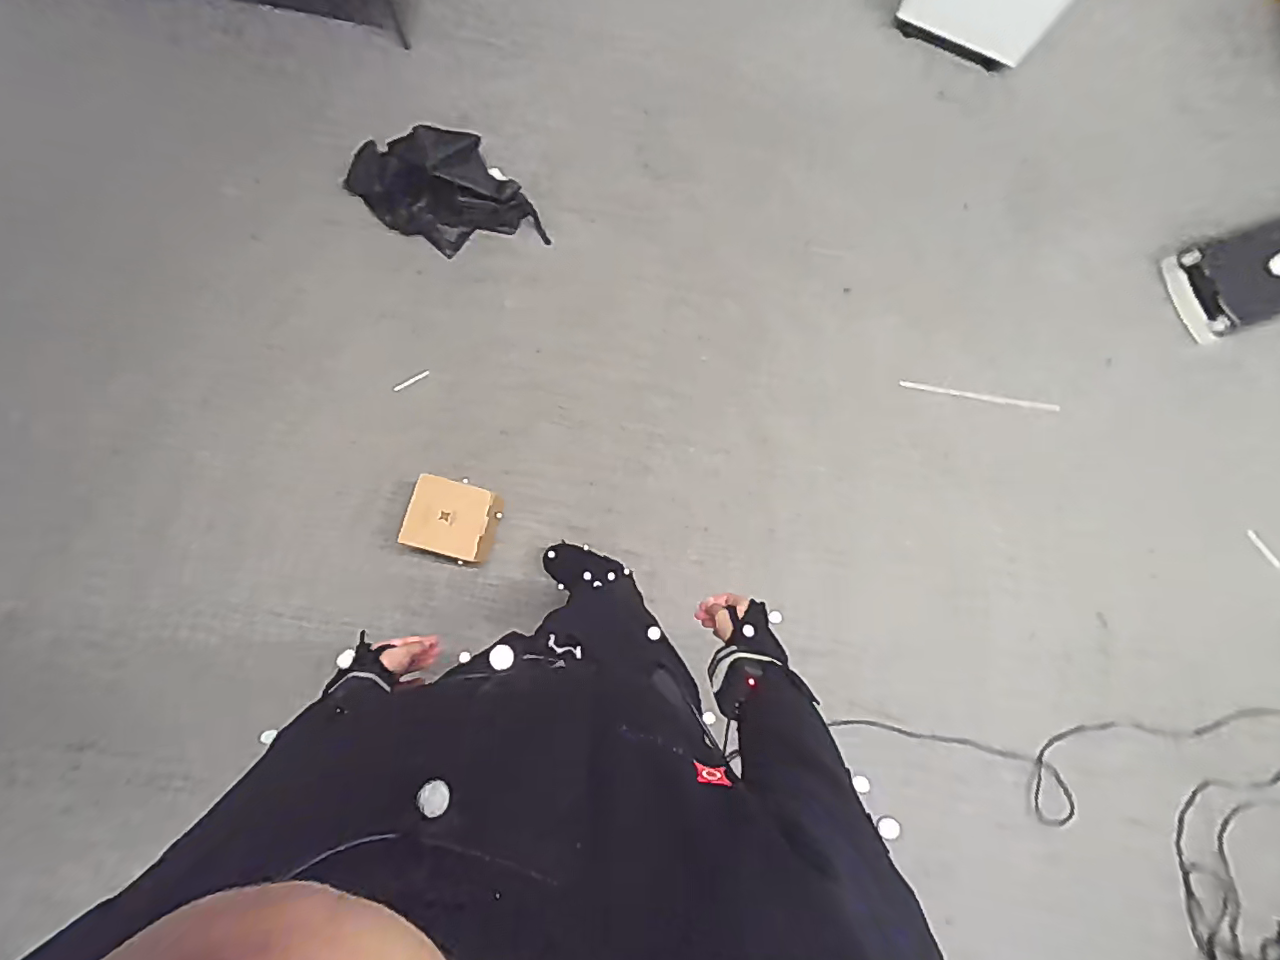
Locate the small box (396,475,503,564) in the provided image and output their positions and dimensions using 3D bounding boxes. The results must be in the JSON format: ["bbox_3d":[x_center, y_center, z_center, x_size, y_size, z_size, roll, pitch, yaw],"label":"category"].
[{"bbox_3d":[-0.440,0.099,1.282,0.179,0.176,0.168,15,79,-2],"label":"small box"}]
